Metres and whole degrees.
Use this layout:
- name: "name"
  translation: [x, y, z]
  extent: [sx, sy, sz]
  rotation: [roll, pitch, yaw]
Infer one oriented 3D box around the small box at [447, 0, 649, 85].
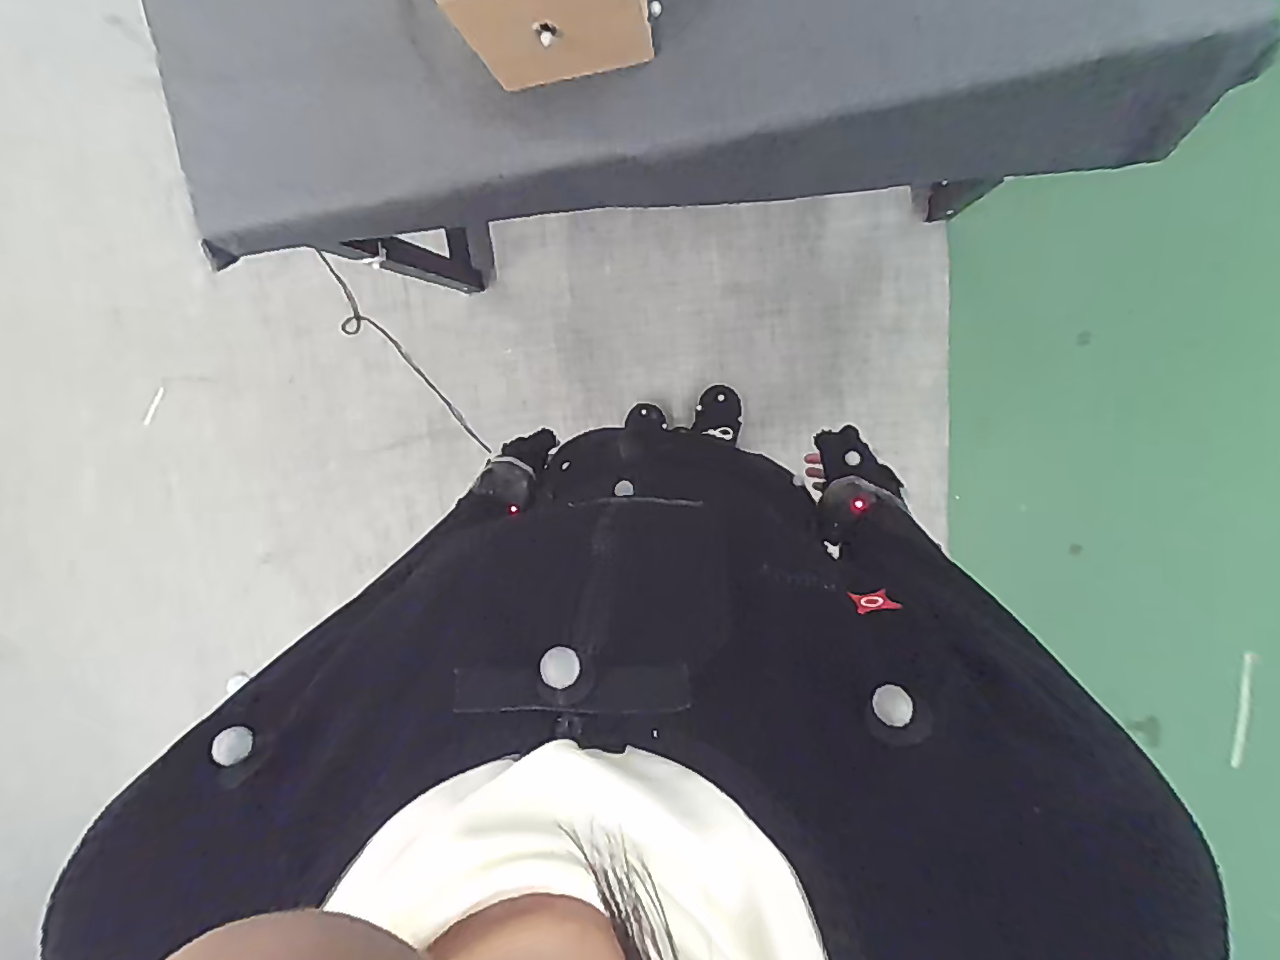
- name: "small box"
  translation: [-0.088, -0.525, 0.521]
  extent: [0.179, 0.176, 0.168]
  rotation: [-7, 101, 9]
